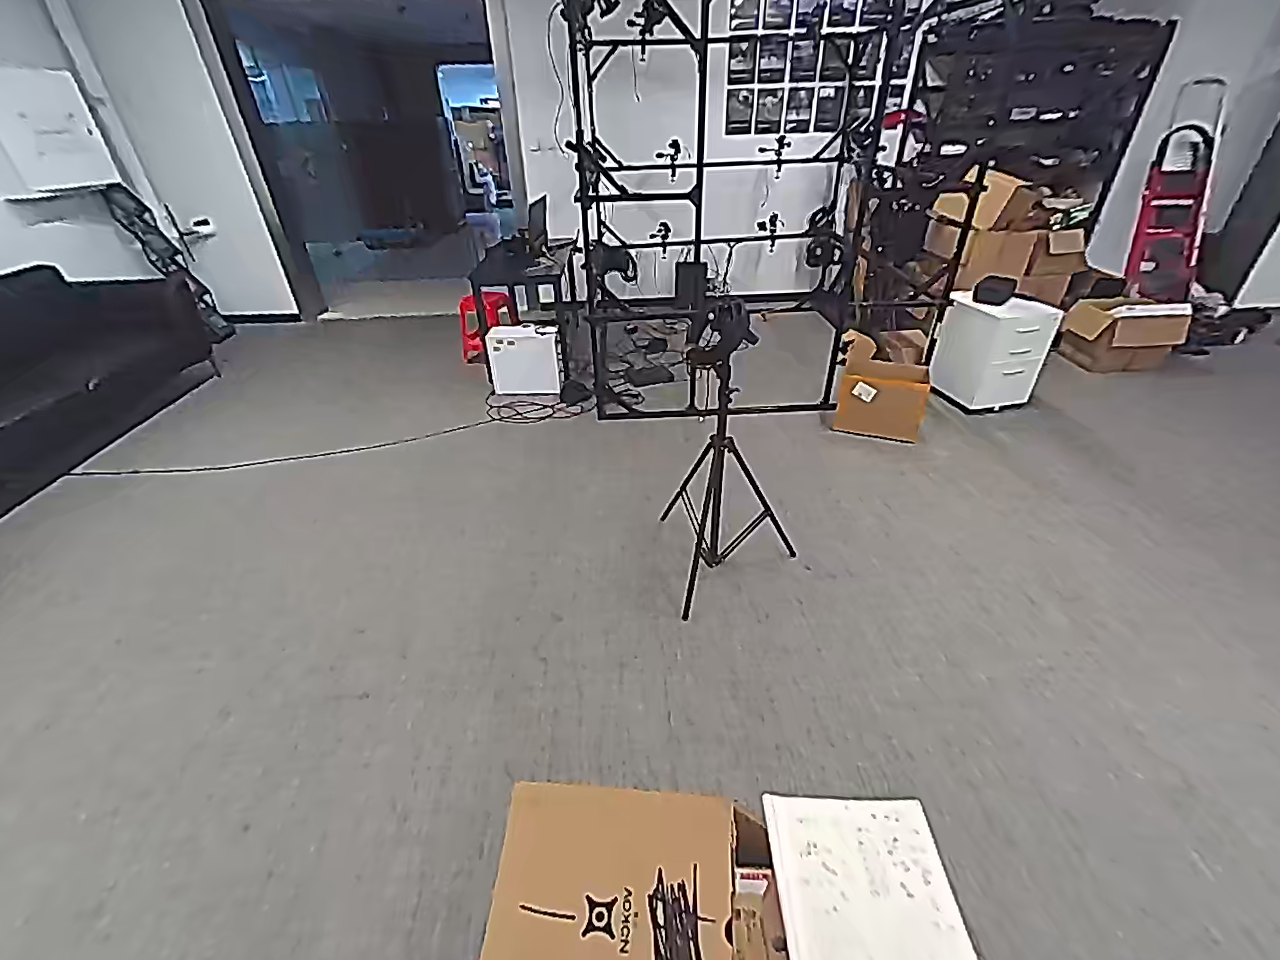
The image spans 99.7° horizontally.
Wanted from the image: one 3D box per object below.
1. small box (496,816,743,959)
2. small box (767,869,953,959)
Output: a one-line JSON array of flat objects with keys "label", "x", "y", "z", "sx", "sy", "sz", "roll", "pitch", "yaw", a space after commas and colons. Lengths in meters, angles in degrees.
[{"label": "small box", "x": -0.014, "y": 0.388, "z": 0.439, "sx": 0.179, "sy": 0.176, "sz": 0.168, "roll": 3, "pitch": 50, "yaw": 4}, {"label": "small box", "x": 0.253, "y": 0.582, "z": 0.620, "sx": 0.168, "sy": 0.176, "sz": 0.179, "roll": 0, "pitch": 34, "yaw": -2}]
